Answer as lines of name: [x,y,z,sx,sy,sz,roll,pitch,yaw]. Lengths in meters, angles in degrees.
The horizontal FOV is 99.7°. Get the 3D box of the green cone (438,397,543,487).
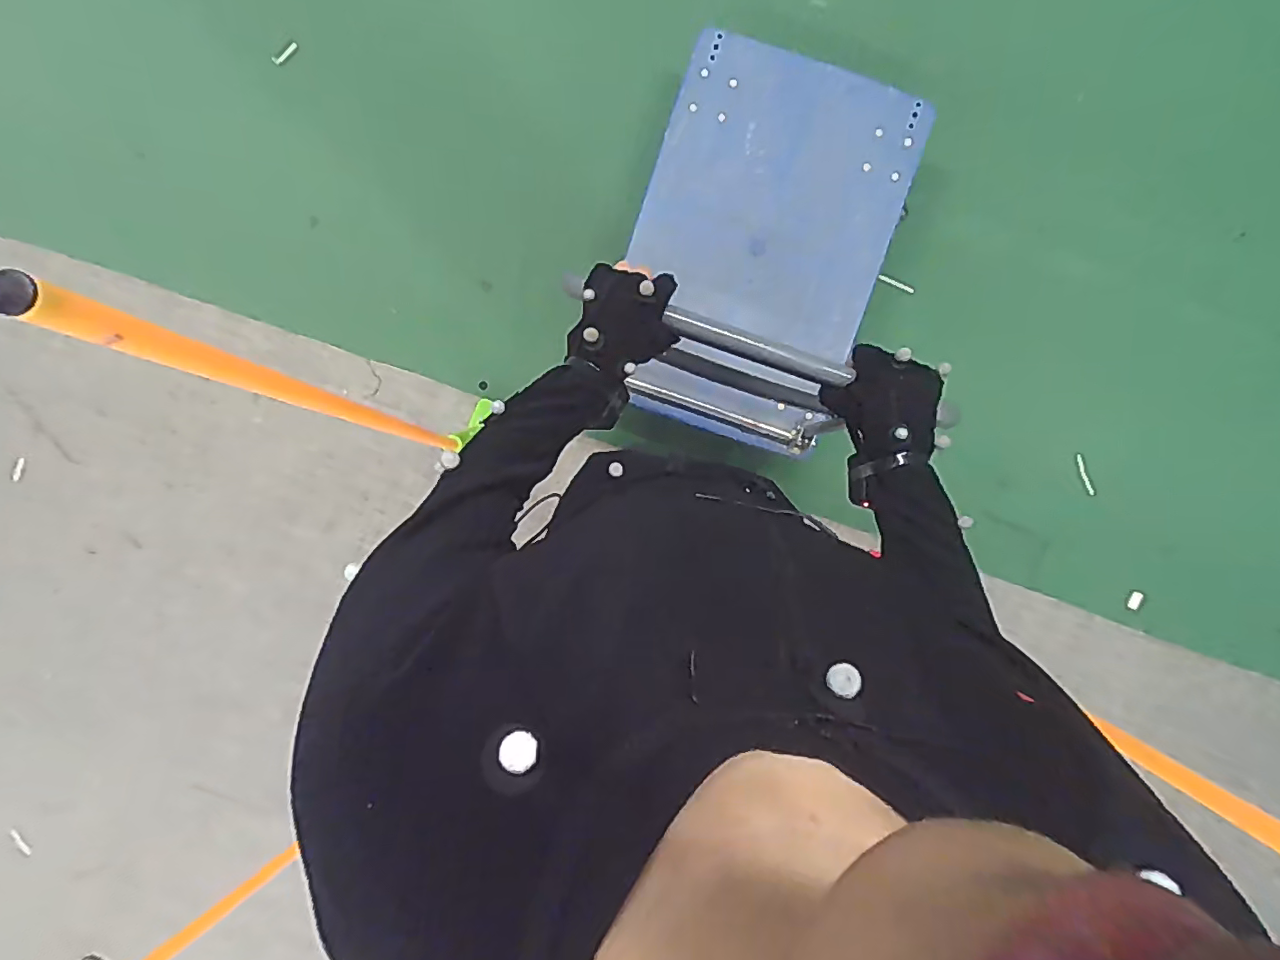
green cone: [-0.391,-0.096,1.305,0.202,0.368,0.200,24,93,1]
